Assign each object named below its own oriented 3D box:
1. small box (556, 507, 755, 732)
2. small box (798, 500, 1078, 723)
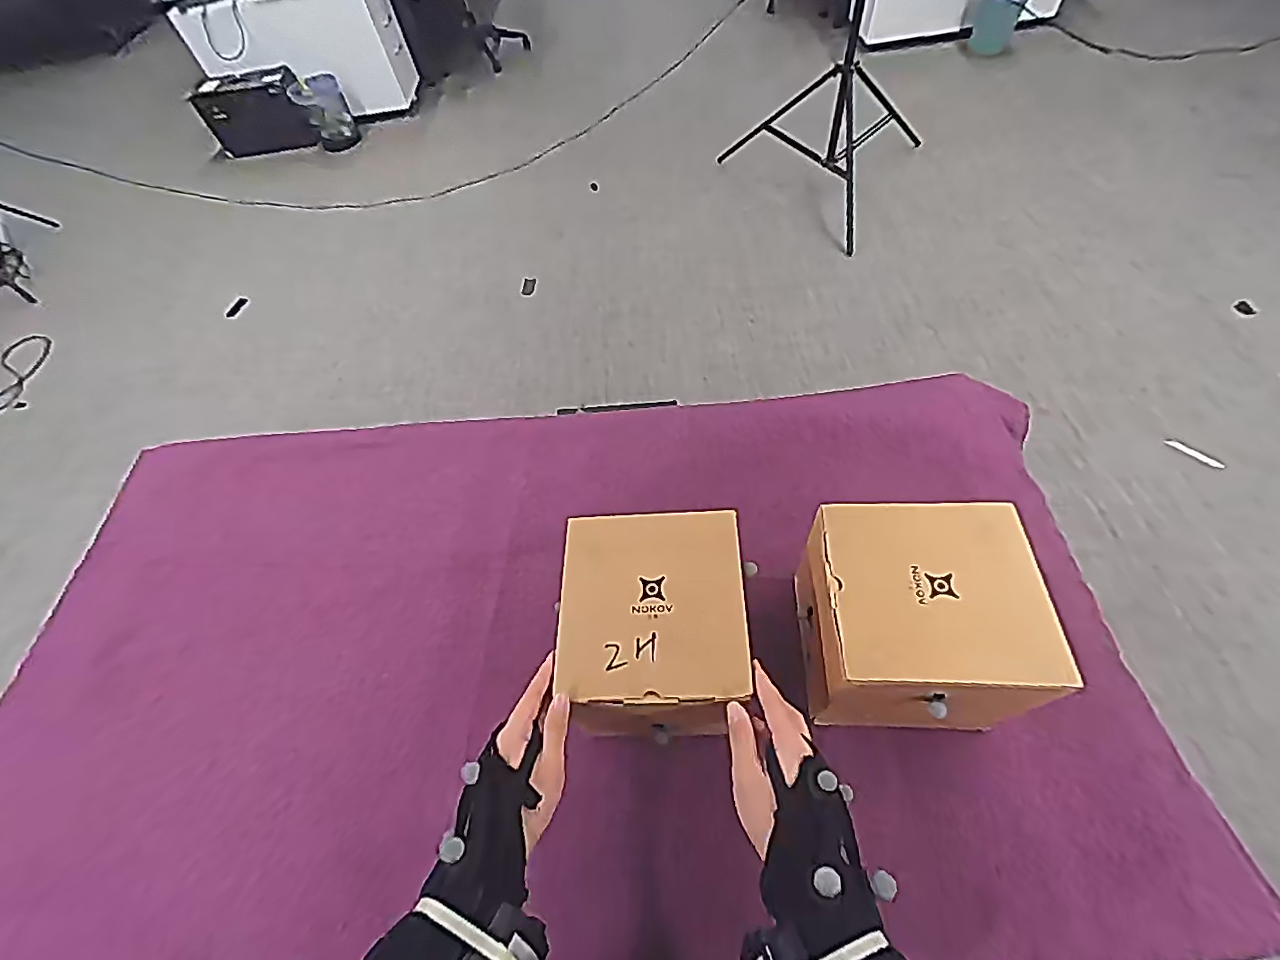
[{"bbox_3d":[0.021,0.146,0.549,0.168,0.176,0.179,-3,56,6],"label":"small box"},{"bbox_3d":[0.262,0.132,0.529,0.179,0.176,0.168,-1,55,7],"label":"small box"}]
